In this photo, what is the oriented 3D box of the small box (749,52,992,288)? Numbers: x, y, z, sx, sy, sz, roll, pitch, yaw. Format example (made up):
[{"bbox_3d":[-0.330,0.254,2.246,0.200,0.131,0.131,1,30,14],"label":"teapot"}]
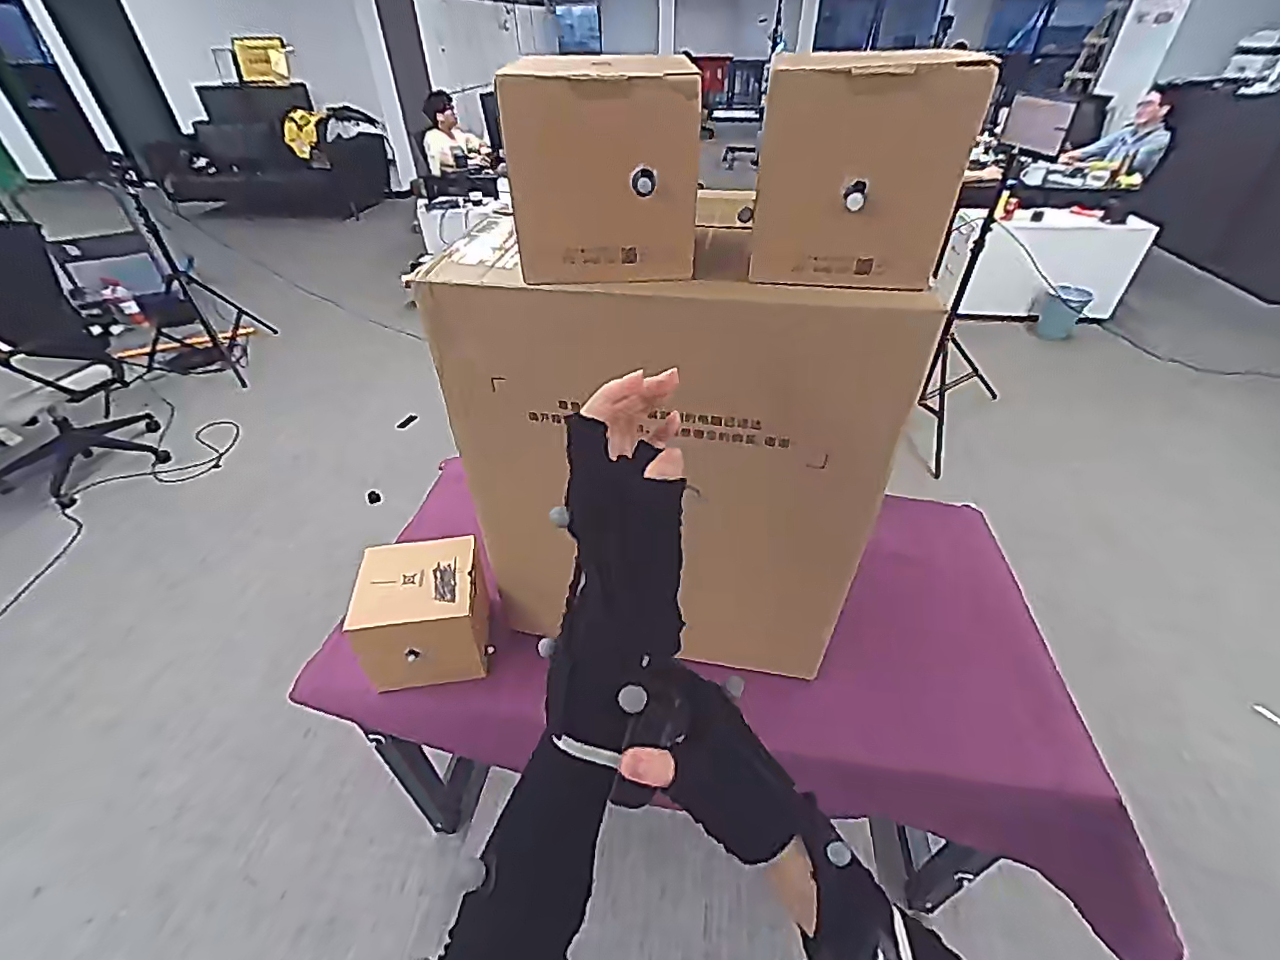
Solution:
[{"bbox_3d":[0.199,-0.299,0.523,0.168,0.176,0.179,7,42,9],"label":"small box"}]

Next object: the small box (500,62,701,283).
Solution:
[{"bbox_3d":[-0.032,-0.309,0.545,0.168,0.176,0.179,-1,40,-2],"label":"small box"}]
